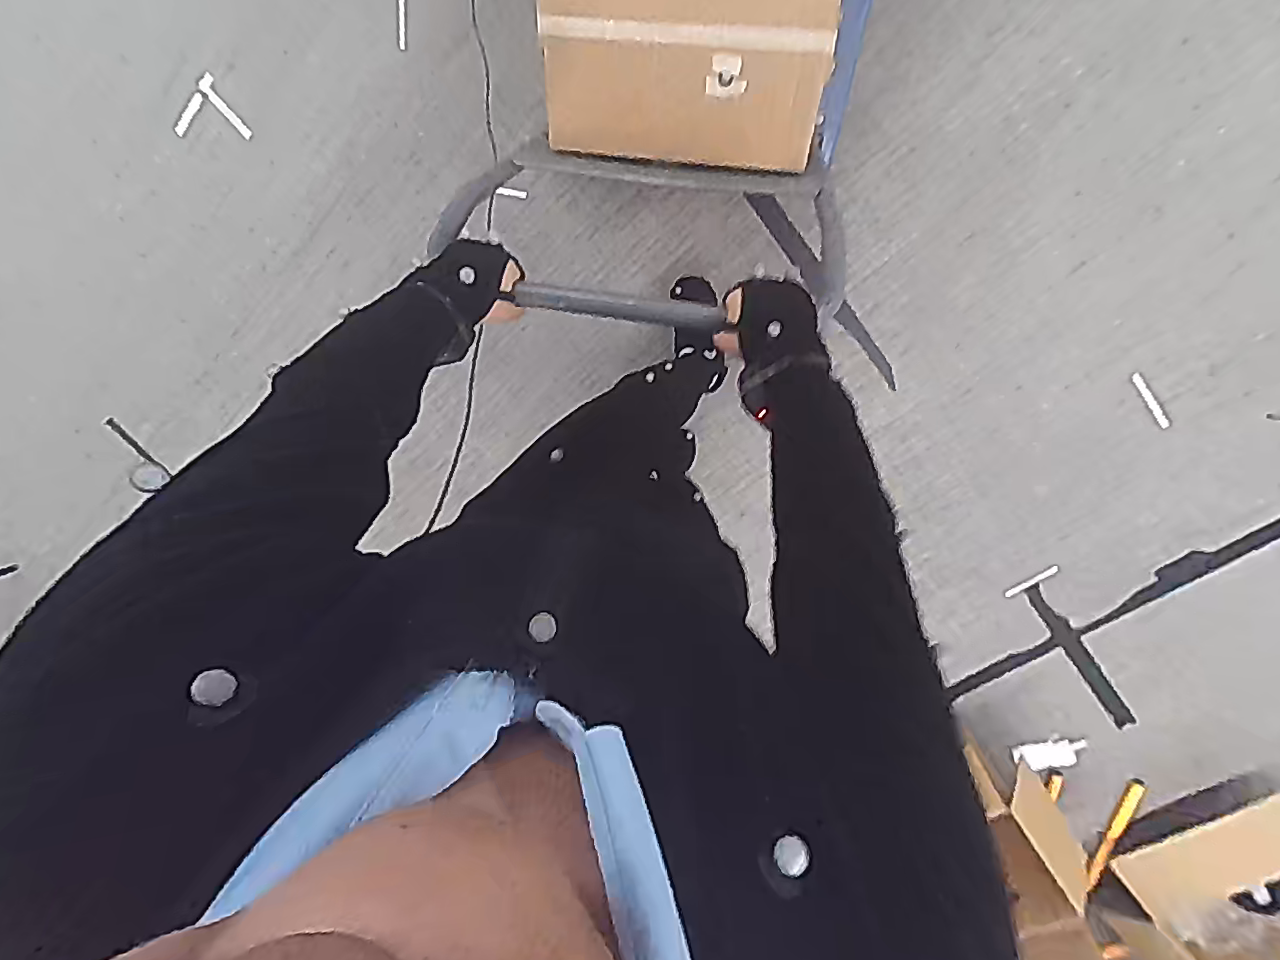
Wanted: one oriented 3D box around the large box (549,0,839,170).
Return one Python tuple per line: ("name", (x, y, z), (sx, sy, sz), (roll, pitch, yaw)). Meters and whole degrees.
("large box", (0.088, -0.716, 0.875), (0.408, 0.320, 0.320), (8, 131, 5))
